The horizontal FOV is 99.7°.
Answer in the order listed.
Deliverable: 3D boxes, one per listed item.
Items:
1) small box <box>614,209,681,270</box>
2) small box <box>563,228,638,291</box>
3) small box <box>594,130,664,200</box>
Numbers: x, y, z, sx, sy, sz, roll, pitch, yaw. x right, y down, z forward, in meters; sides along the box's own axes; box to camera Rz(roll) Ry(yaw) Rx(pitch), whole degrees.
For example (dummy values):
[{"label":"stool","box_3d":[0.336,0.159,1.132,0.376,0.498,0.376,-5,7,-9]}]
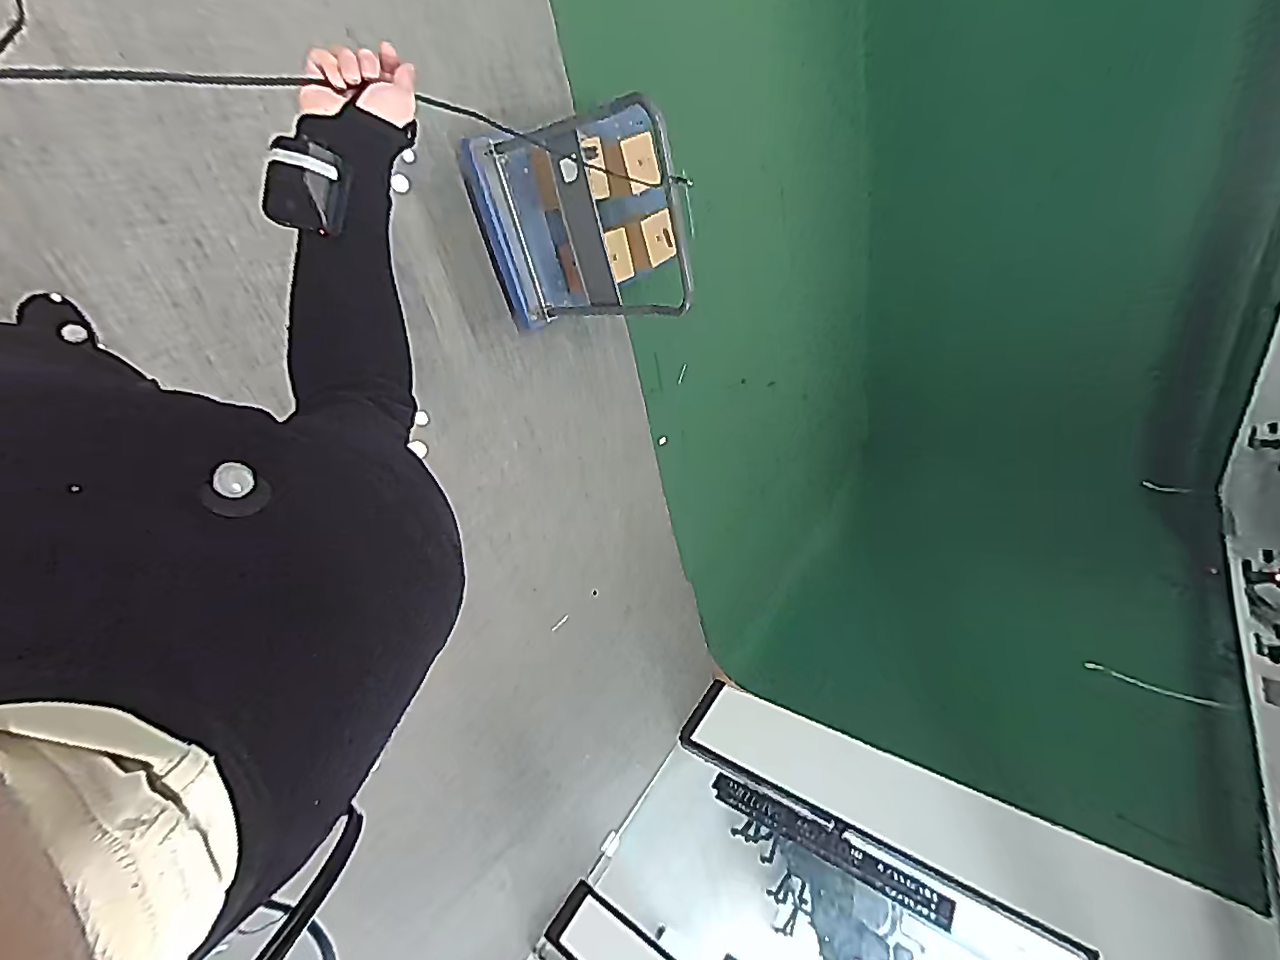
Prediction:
[{"label":"small box","box_3d":[0.027,-0.909,2.049,0.179,0.176,0.168,-44,129,-34]},{"label":"small box","box_3d":[-0.136,-0.768,1.886,0.179,0.176,0.168,-40,127,-37]},{"label":"small box","box_3d":[-0.045,-1.110,1.915,0.179,0.176,0.168,-45,131,-35]}]
